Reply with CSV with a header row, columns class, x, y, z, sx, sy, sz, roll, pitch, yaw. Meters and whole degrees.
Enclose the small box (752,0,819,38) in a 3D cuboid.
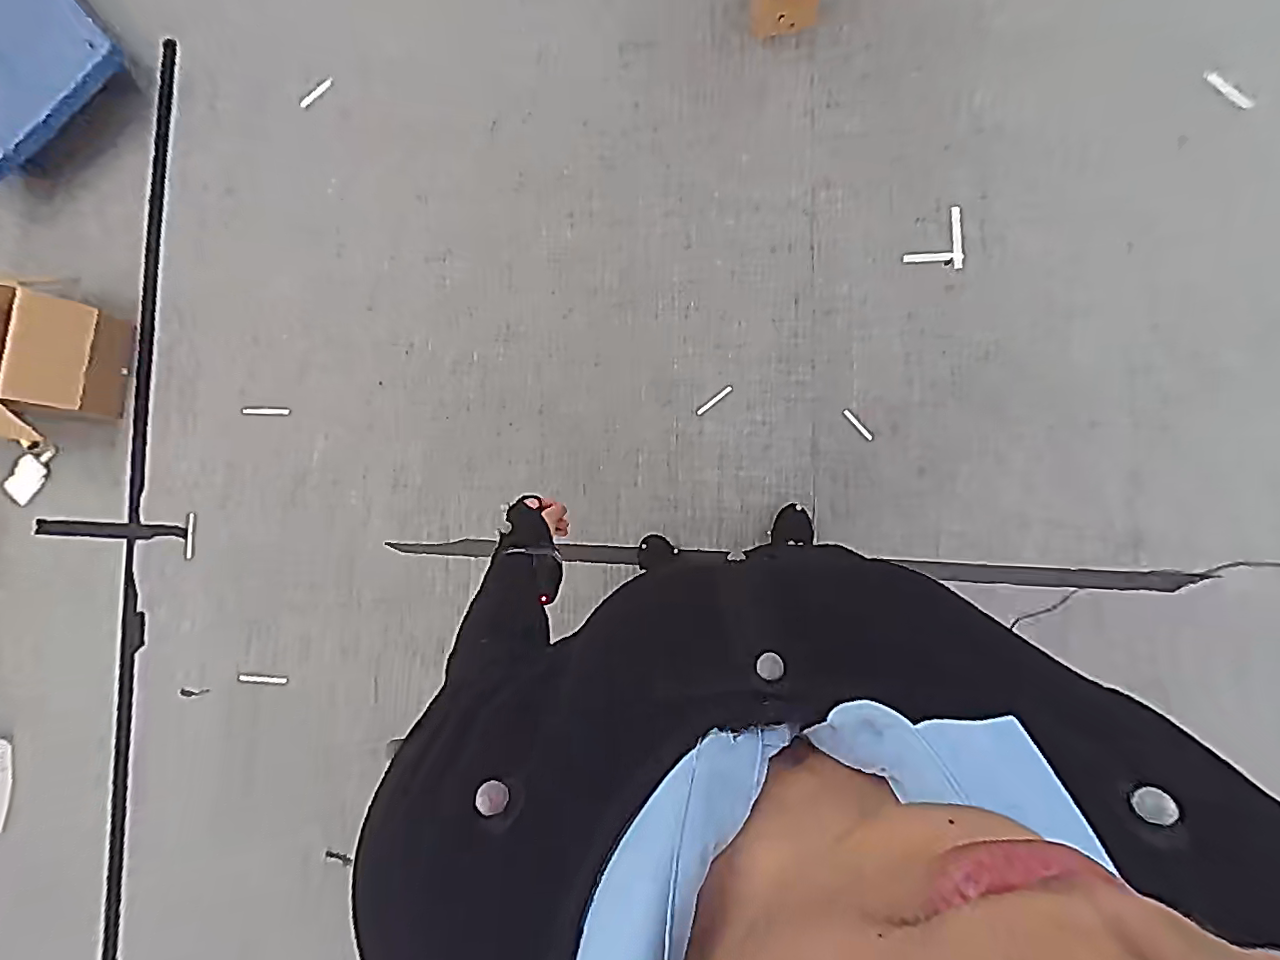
class,x,y,z,sx,sy,sz,roll,pitch,yaw
small box,0.402,-1.379,1.492,0.168,0.176,0.179,-5,86,5
